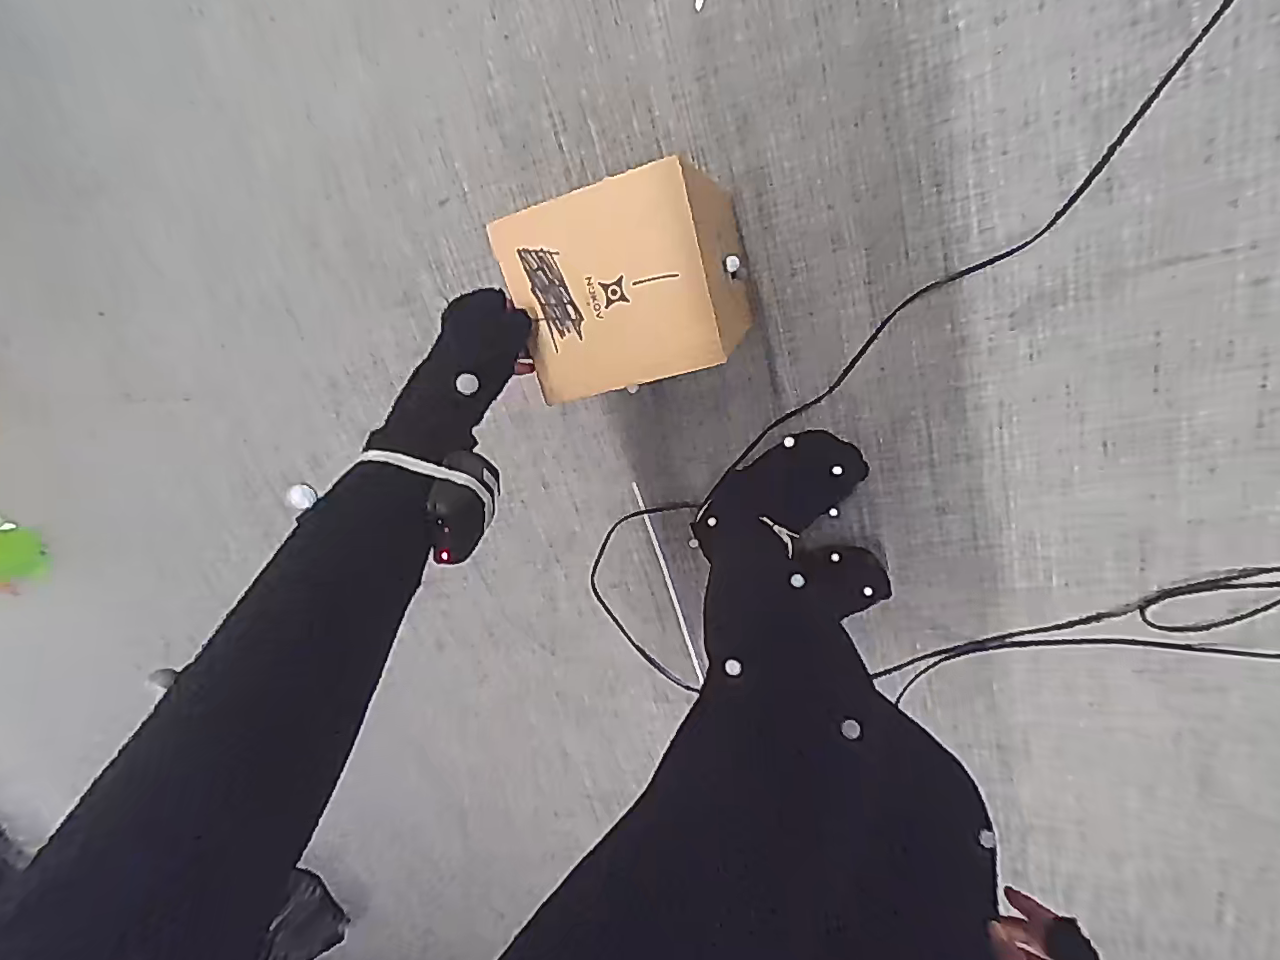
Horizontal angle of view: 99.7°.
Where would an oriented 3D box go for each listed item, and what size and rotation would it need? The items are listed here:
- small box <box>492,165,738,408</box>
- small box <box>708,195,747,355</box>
[{"bbox_3d":[-0.010,-0.185,0.537,0.179,0.176,0.168,-10,110,19],"label":"small box"},{"bbox_3d":[0.036,-0.249,0.685,0.168,0.176,0.179,-8,111,20],"label":"small box"}]
